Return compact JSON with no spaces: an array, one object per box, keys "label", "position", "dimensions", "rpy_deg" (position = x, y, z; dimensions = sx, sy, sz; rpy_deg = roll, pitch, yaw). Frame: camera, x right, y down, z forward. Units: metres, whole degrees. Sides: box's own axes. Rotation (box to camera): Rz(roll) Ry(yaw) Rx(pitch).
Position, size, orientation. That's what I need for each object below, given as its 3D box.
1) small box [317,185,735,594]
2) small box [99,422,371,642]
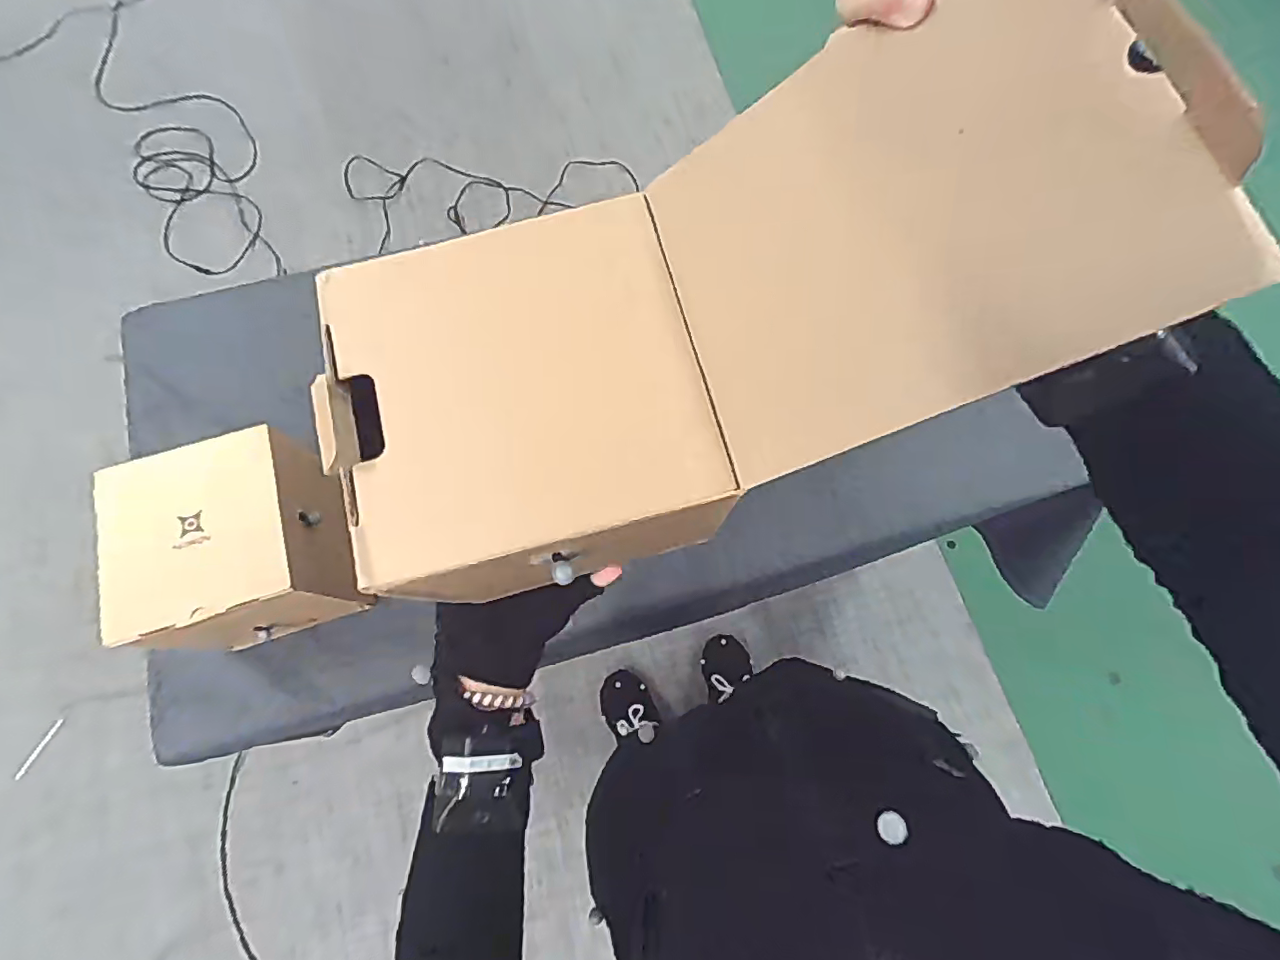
[{"label":"small box","position":[-0.055,-0.031,0.329],"dimensions":[0.179,0.176,0.168],"rpy_deg":[-15,76,0]},{"label":"small box","position":[-0.420,0.066,0.584],"dimensions":[0.168,0.176,0.179],"rpy_deg":[-18,74,-6]}]
